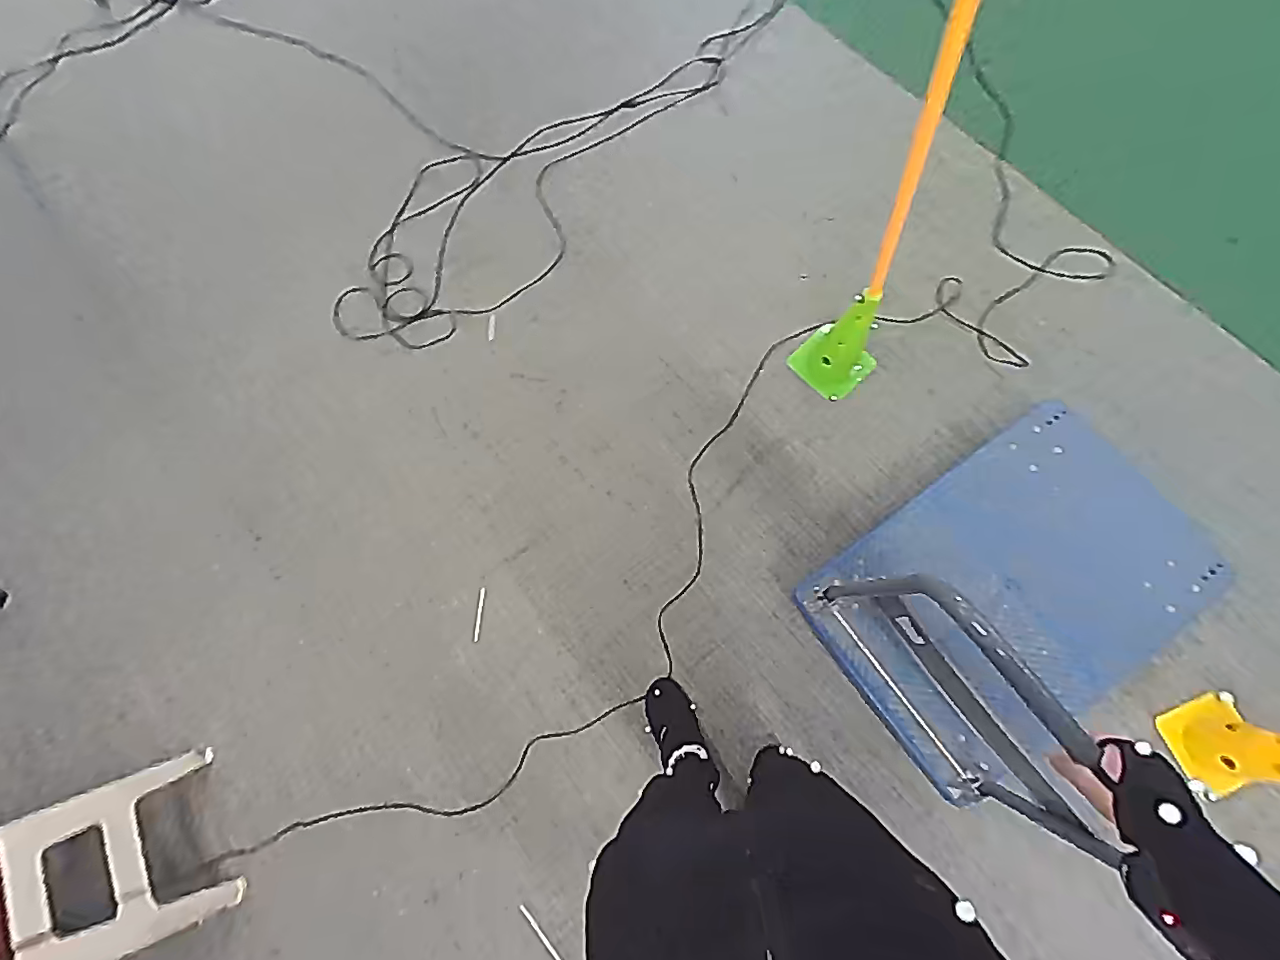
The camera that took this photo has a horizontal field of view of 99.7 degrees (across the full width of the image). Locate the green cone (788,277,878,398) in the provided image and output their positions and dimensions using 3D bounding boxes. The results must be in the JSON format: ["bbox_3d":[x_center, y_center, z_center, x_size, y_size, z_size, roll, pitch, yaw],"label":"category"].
[{"bbox_3d":[0.562,-0.412,1.446,0.200,0.368,0.202,-43,75,-9],"label":"green cone"}]
